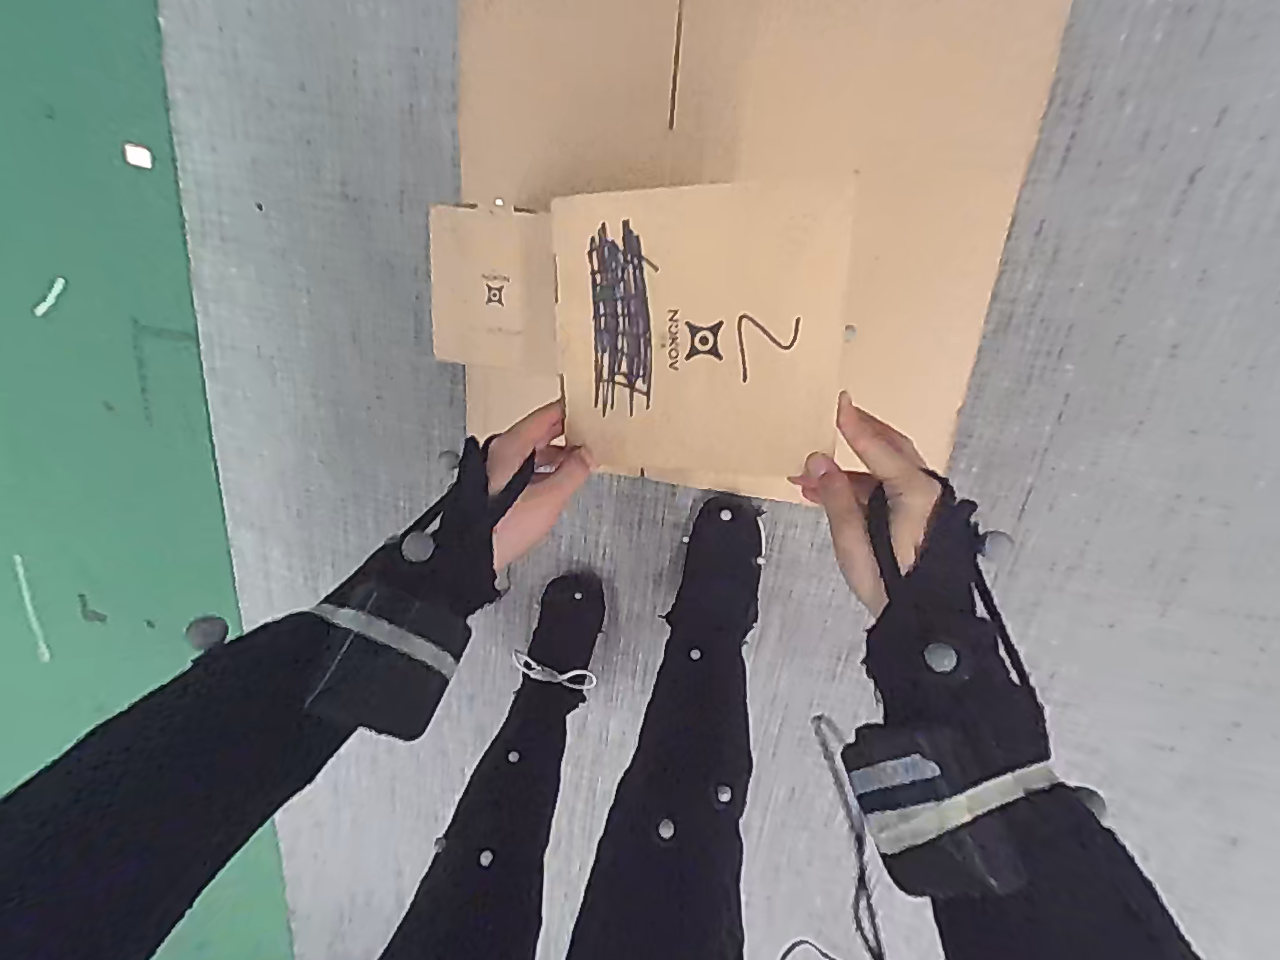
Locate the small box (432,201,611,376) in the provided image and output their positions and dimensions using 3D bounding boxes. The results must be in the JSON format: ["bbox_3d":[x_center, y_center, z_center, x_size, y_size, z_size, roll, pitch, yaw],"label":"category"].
[{"bbox_3d":[-0.141,-0.239,0.685,0.168,0.176,0.179,10,111,13],"label":"small box"}]
